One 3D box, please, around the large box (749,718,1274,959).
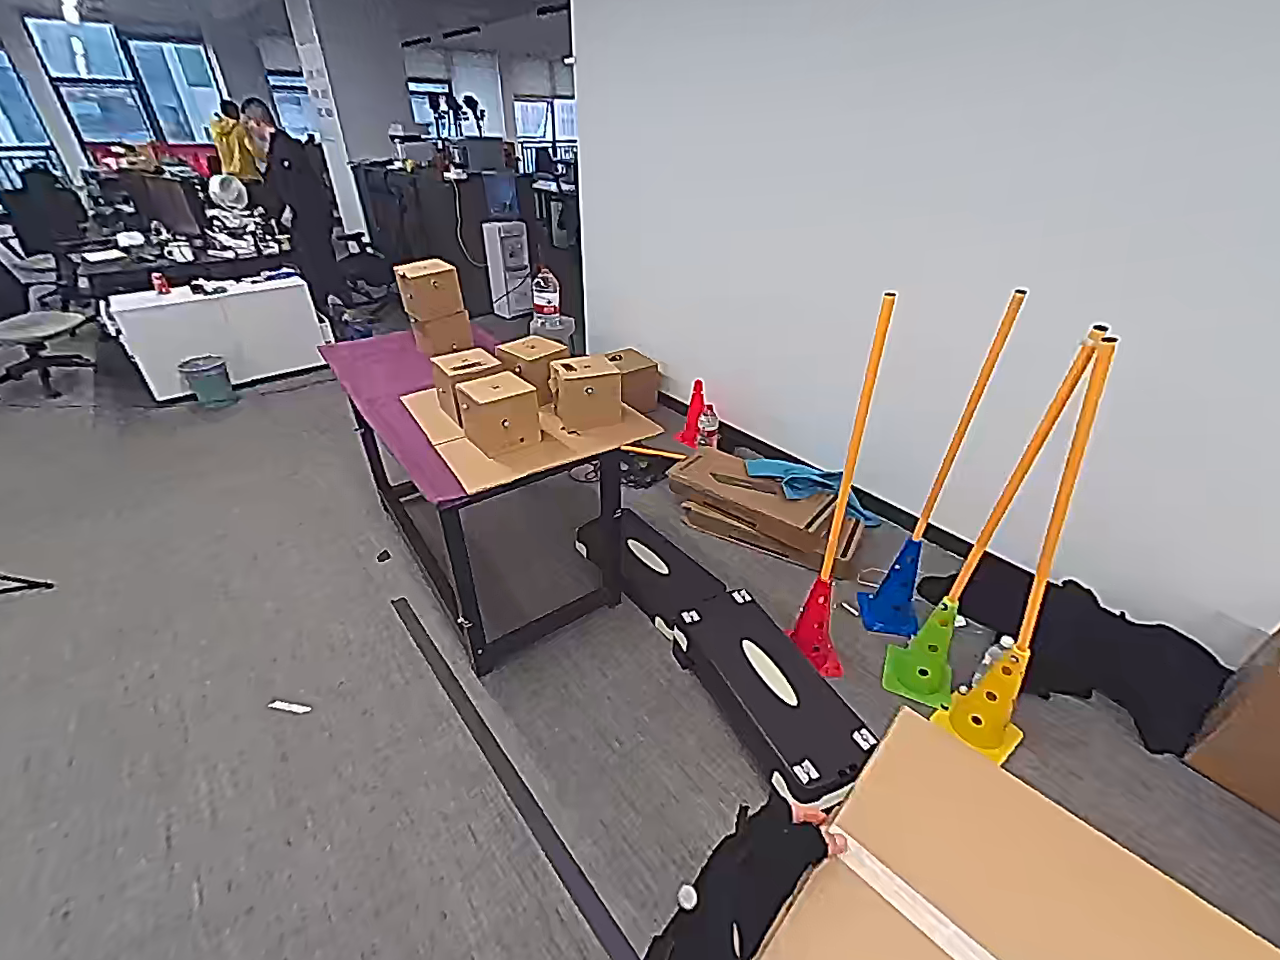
[{"bbox_3d":[0.311,0.510,0.466,0.408,0.320,0.320,31,51,33],"label":"large box"}]
